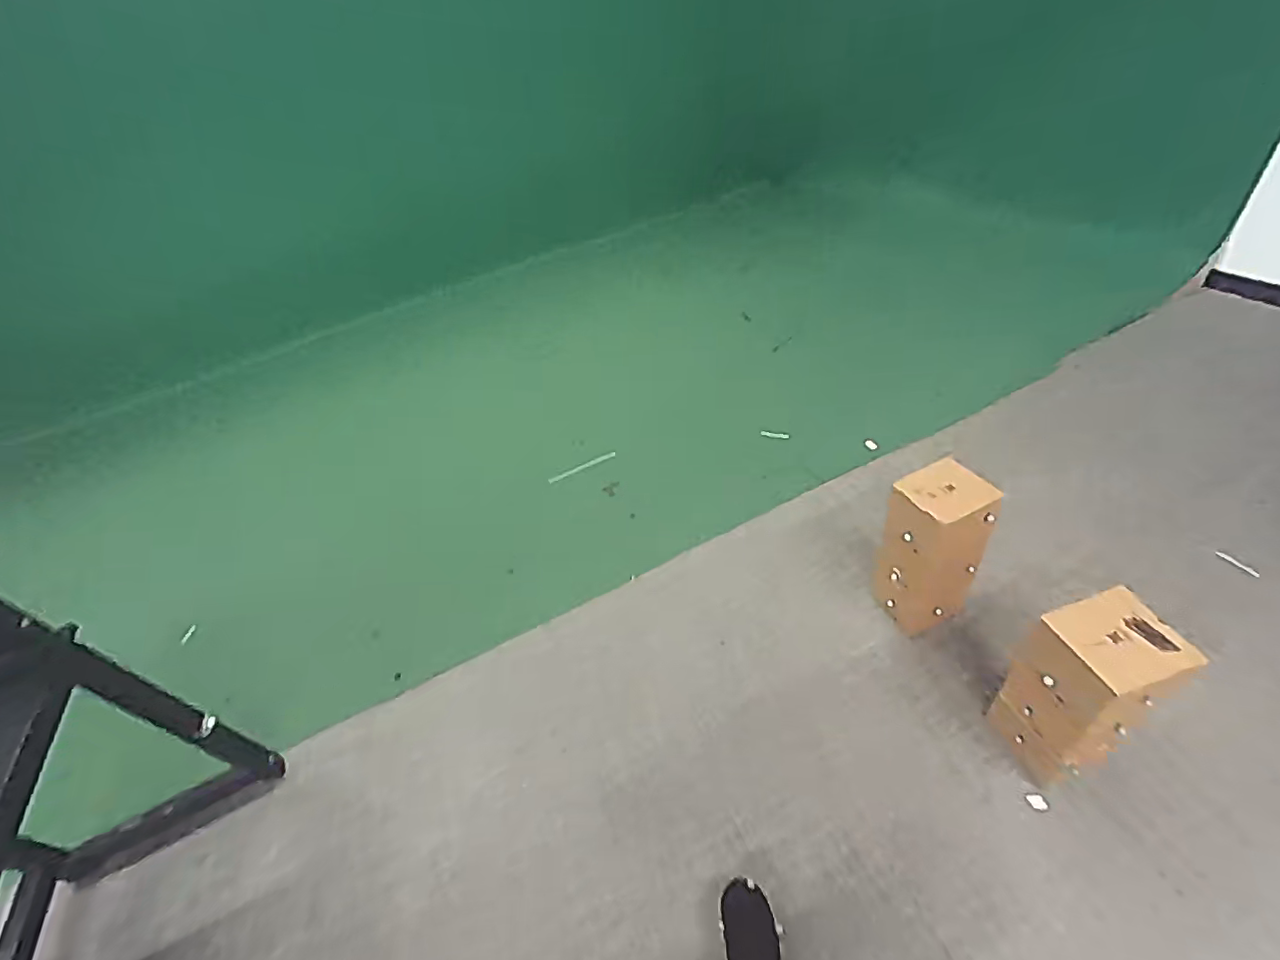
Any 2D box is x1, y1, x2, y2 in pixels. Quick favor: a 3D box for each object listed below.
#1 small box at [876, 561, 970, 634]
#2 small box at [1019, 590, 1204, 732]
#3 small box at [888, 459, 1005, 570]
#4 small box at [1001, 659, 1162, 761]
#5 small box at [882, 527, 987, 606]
[{"bbox_3d":[0.799,0.311,1.547,0.179,0.176,0.168,-22,44,-7],"label":"small box"},{"bbox_3d":[0.868,0.343,1.019,0.179,0.176,0.168,-19,43,-2],"label":"small box"},{"bbox_3d":[0.735,0.085,1.319,0.179,0.176,0.168,-24,43,-10],"label":"small box"},{"bbox_3d":[0.907,0.455,1.133,0.179,0.176,0.168,-20,44,-4],"label":"small box"},{"bbox_3d":[0.768,0.199,1.434,0.179,0.176,0.168,-25,43,-9],"label":"small box"}]
